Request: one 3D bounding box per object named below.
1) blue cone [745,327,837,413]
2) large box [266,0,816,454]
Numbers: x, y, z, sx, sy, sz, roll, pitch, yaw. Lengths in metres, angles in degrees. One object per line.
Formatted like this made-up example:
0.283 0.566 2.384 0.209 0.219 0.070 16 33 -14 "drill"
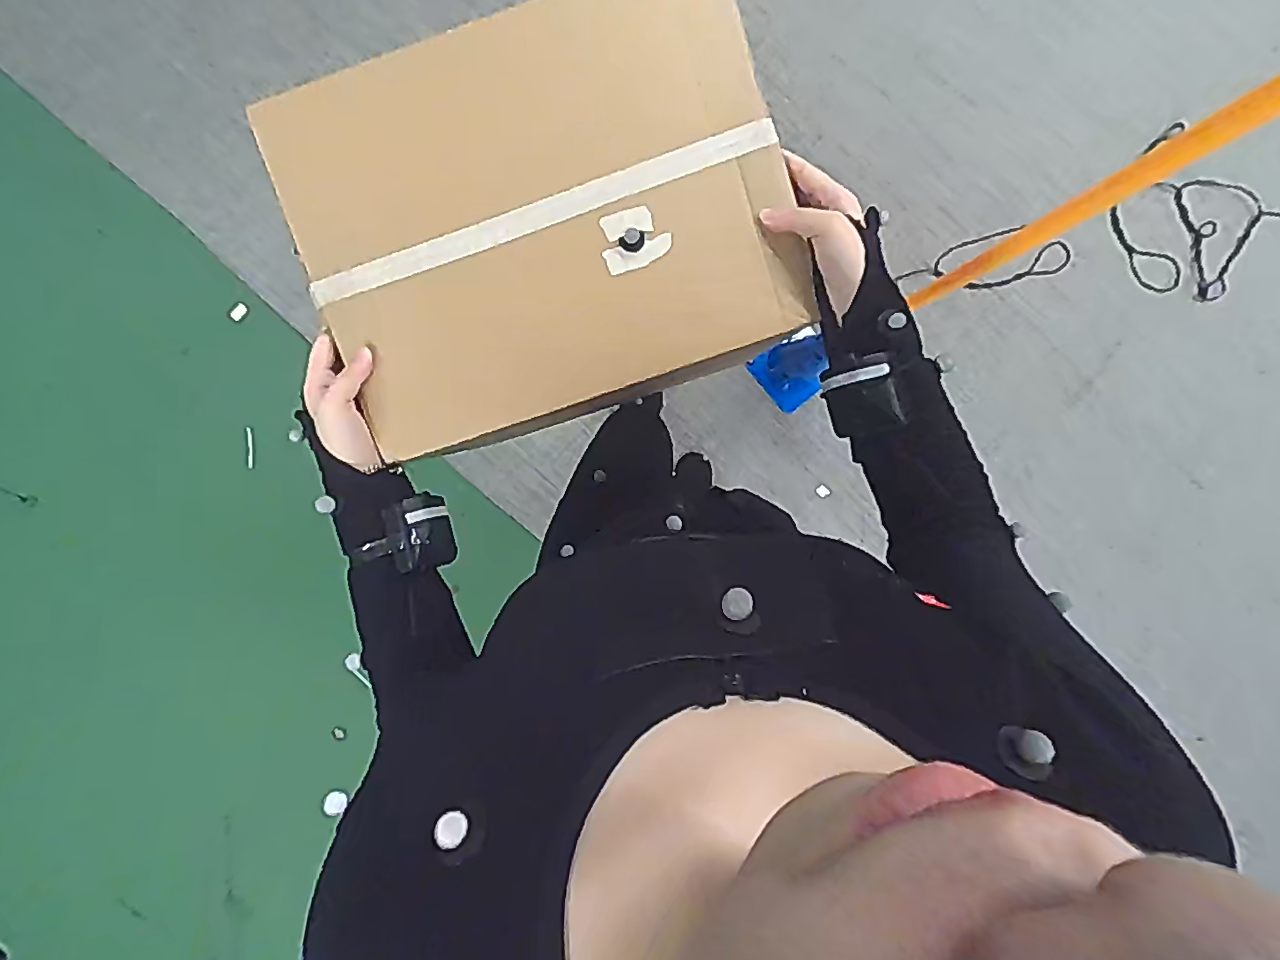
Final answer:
0.405 -0.289 1.308 0.192 0.380 0.193 -39 93 4 "blue cone"
-0.083 -0.242 0.608 0.408 0.320 0.320 -19 96 1 "large box"
